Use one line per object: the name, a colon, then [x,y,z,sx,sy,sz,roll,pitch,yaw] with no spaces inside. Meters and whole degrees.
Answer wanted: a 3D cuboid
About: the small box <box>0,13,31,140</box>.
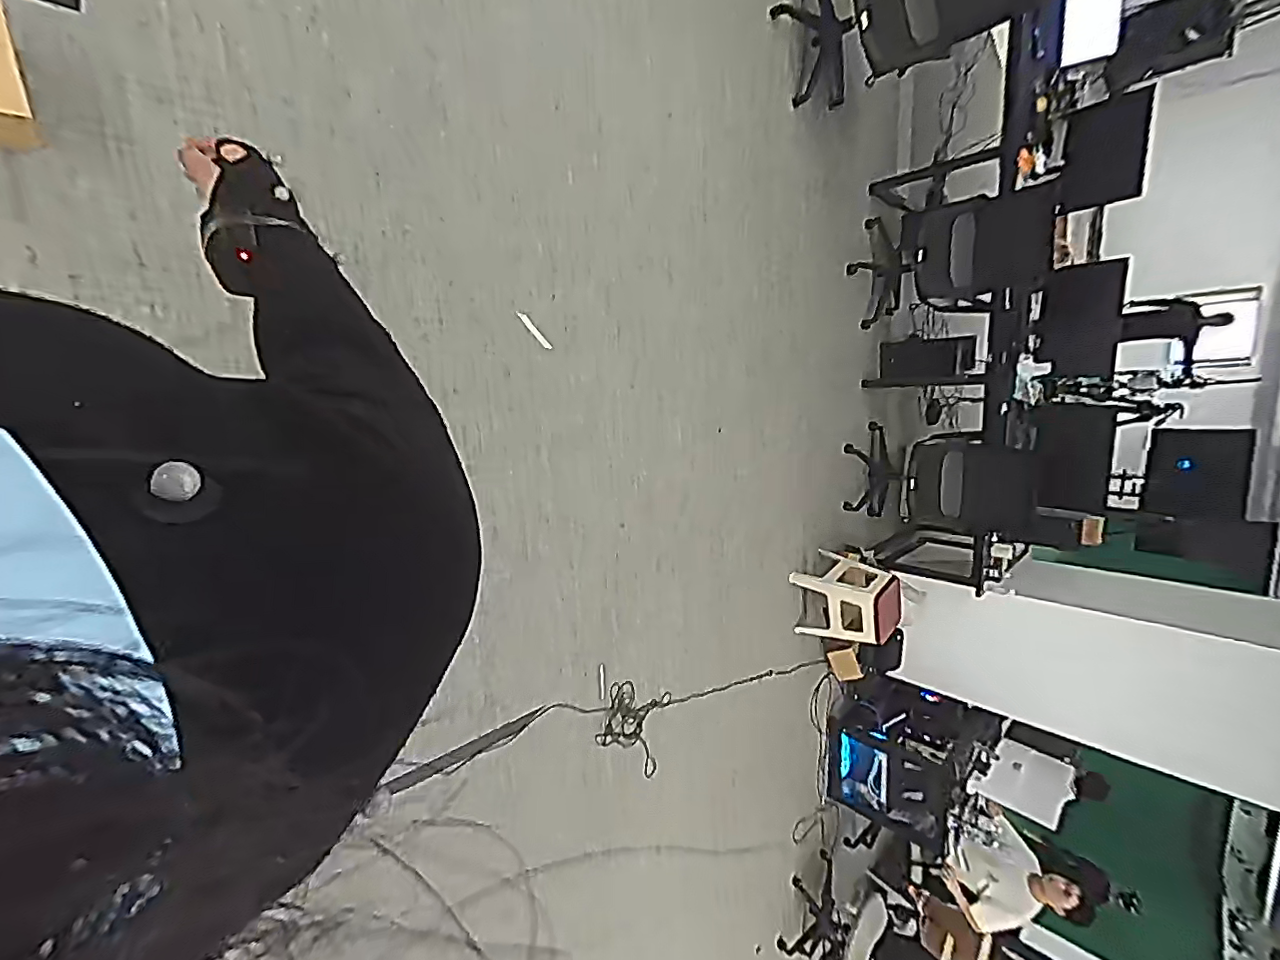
small box: [-1.100,-0.667,0.846,0.168,0.176,0.179,-14,105,-43]
